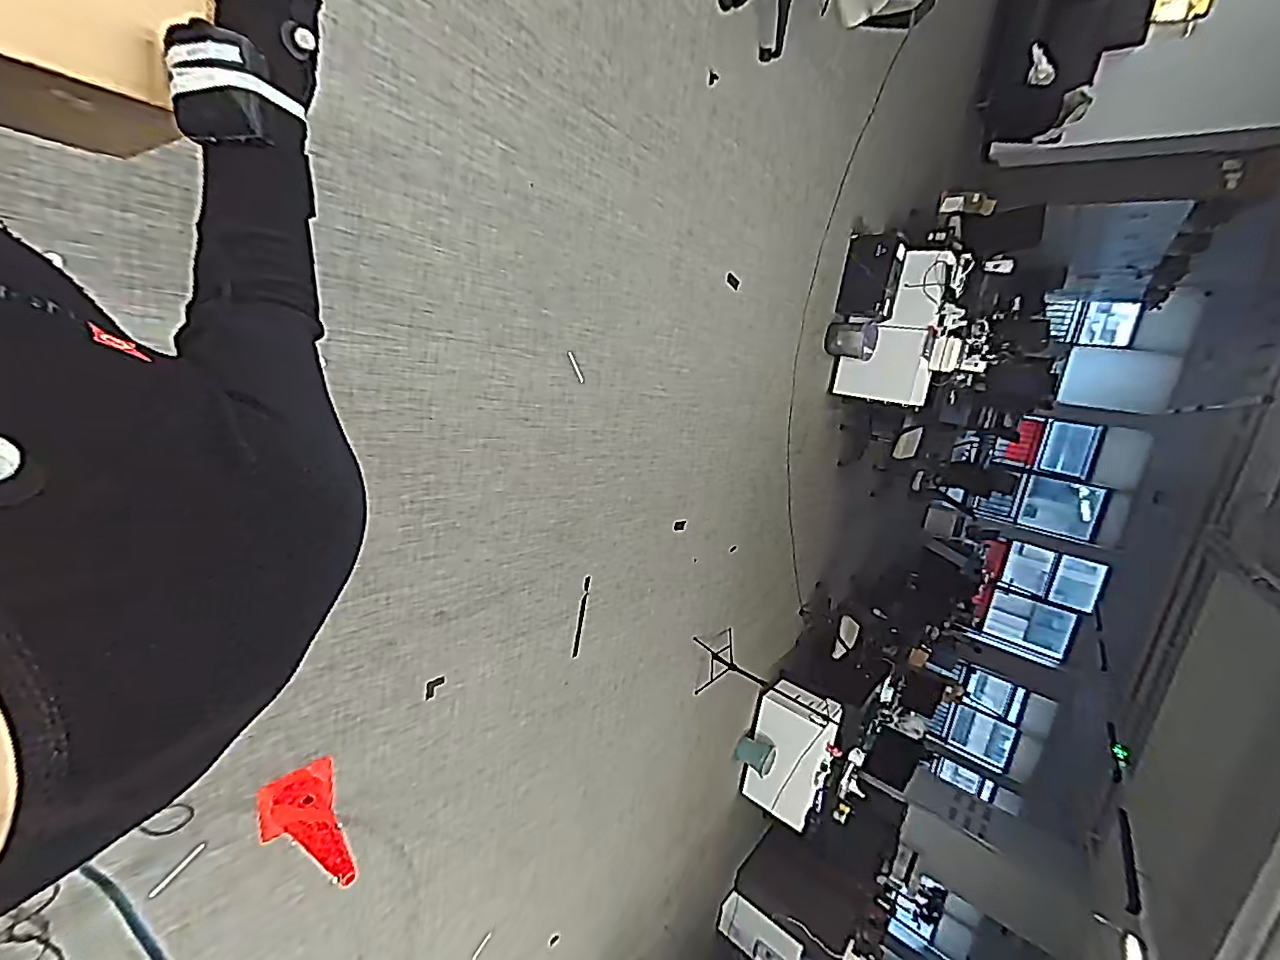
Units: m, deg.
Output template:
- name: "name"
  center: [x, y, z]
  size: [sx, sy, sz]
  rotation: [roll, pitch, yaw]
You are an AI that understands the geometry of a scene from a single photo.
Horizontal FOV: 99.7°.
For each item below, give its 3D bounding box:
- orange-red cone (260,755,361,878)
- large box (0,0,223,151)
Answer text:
- name: "orange-red cone"
  center: [-0.891, 0.987, 1.521]
  size: [0.198, 0.360, 0.199]
  rotation: [-11, 112, -51]
- name: "large box"
  center: [-0.533, -0.430, 0.298]
  size: [0.408, 0.320, 0.320]
  rotation: [-11, 114, -52]
